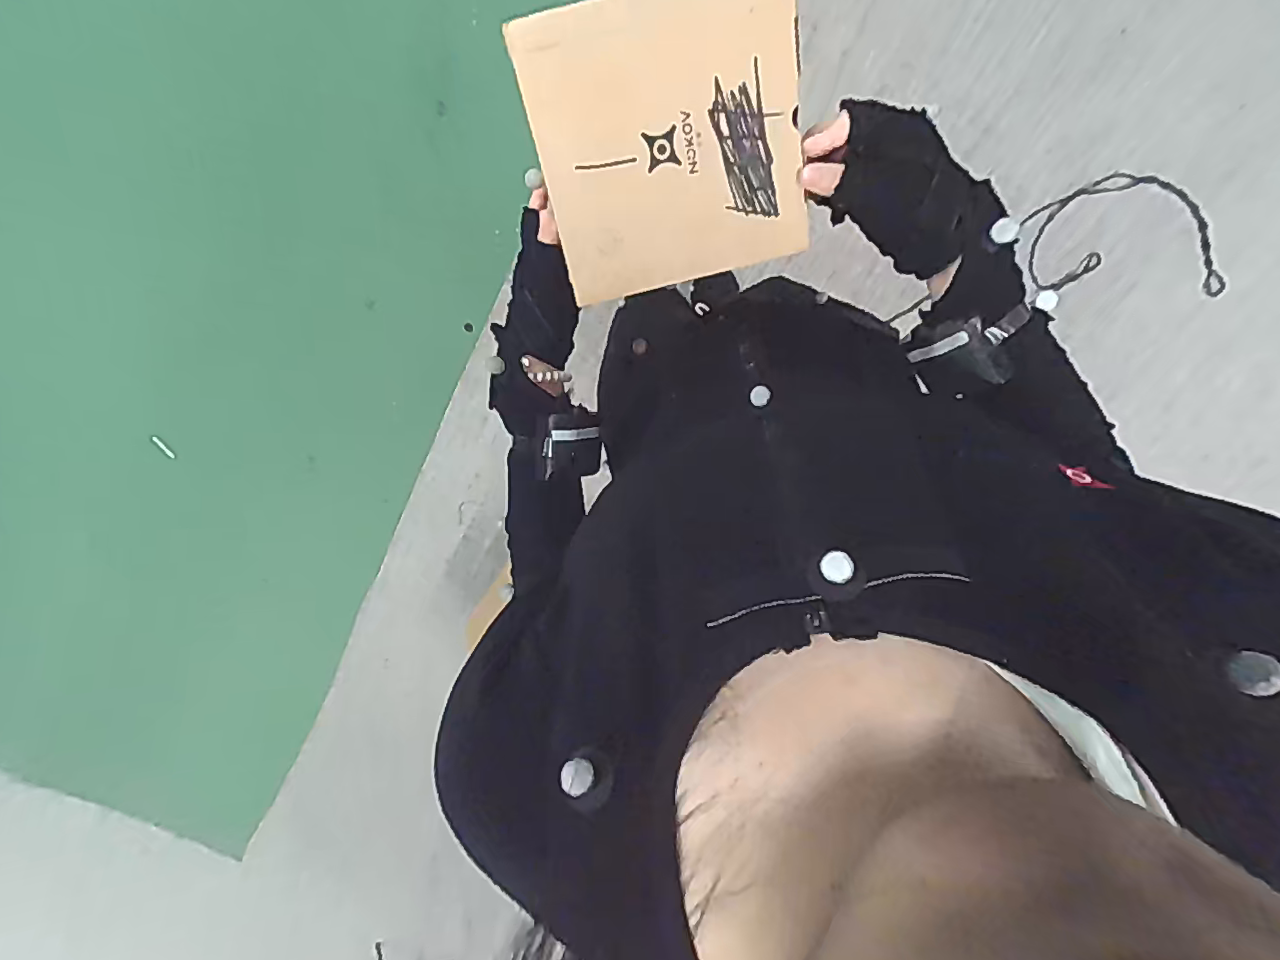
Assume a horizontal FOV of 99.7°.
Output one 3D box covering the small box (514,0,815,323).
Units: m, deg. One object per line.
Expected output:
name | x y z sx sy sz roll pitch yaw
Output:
small box | 0.015 -0.238 0.417 0.179 0.176 0.168 -14 118 0

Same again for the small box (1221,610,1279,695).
small box | 1.858 0.514 1.558 0.168 0.176 0.179 27 110 -7
